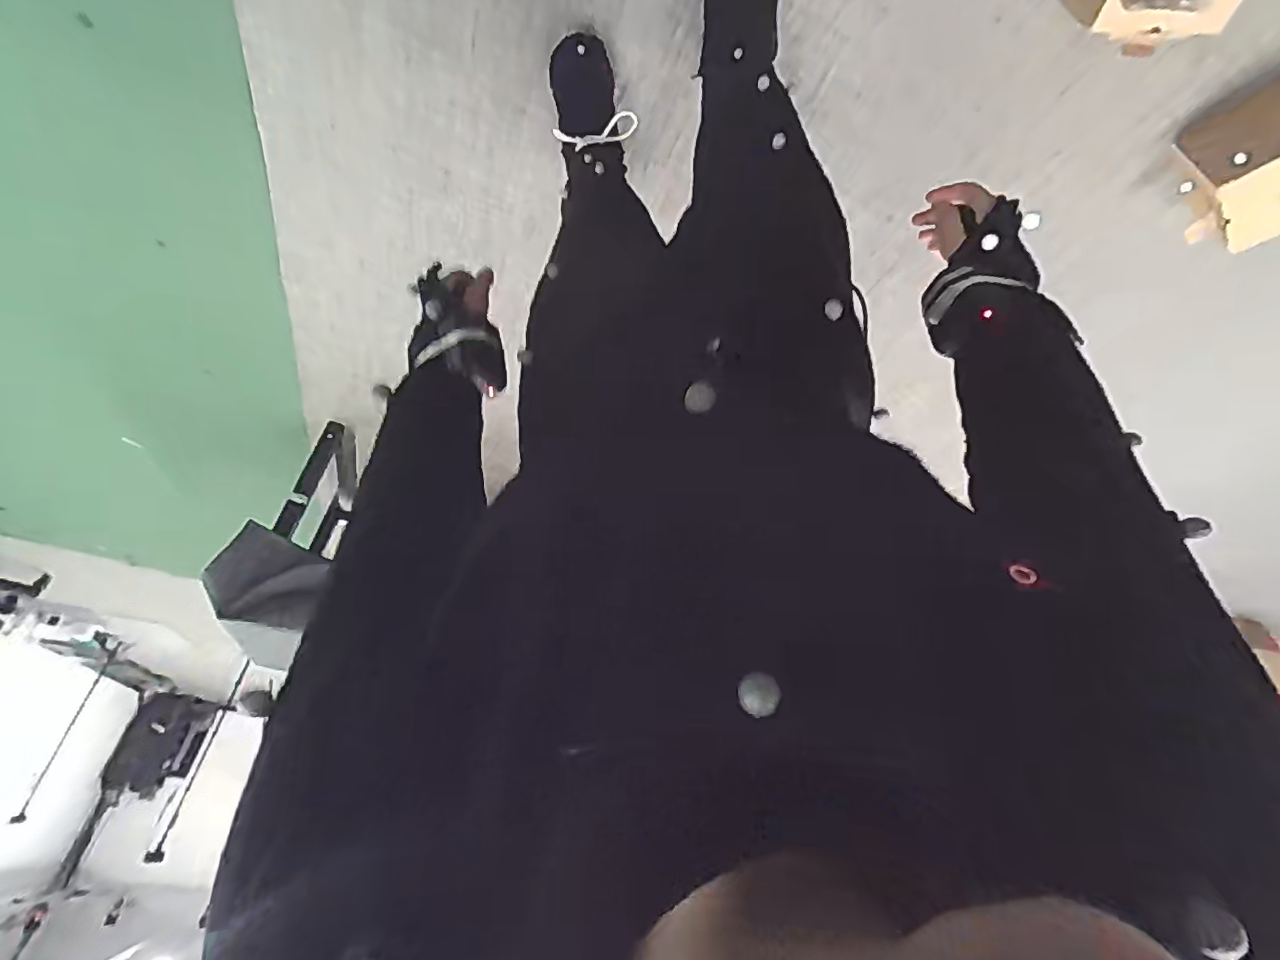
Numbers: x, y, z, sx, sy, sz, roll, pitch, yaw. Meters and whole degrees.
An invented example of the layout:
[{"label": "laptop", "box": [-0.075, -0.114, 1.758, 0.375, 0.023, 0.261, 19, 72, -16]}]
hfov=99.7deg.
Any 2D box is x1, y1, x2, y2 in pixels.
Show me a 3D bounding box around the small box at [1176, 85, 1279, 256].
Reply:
[{"label": "small box", "box": [1.055, -0.525, 0.900, 0.168, 0.176, 0.179, 31, 140, -33]}]
